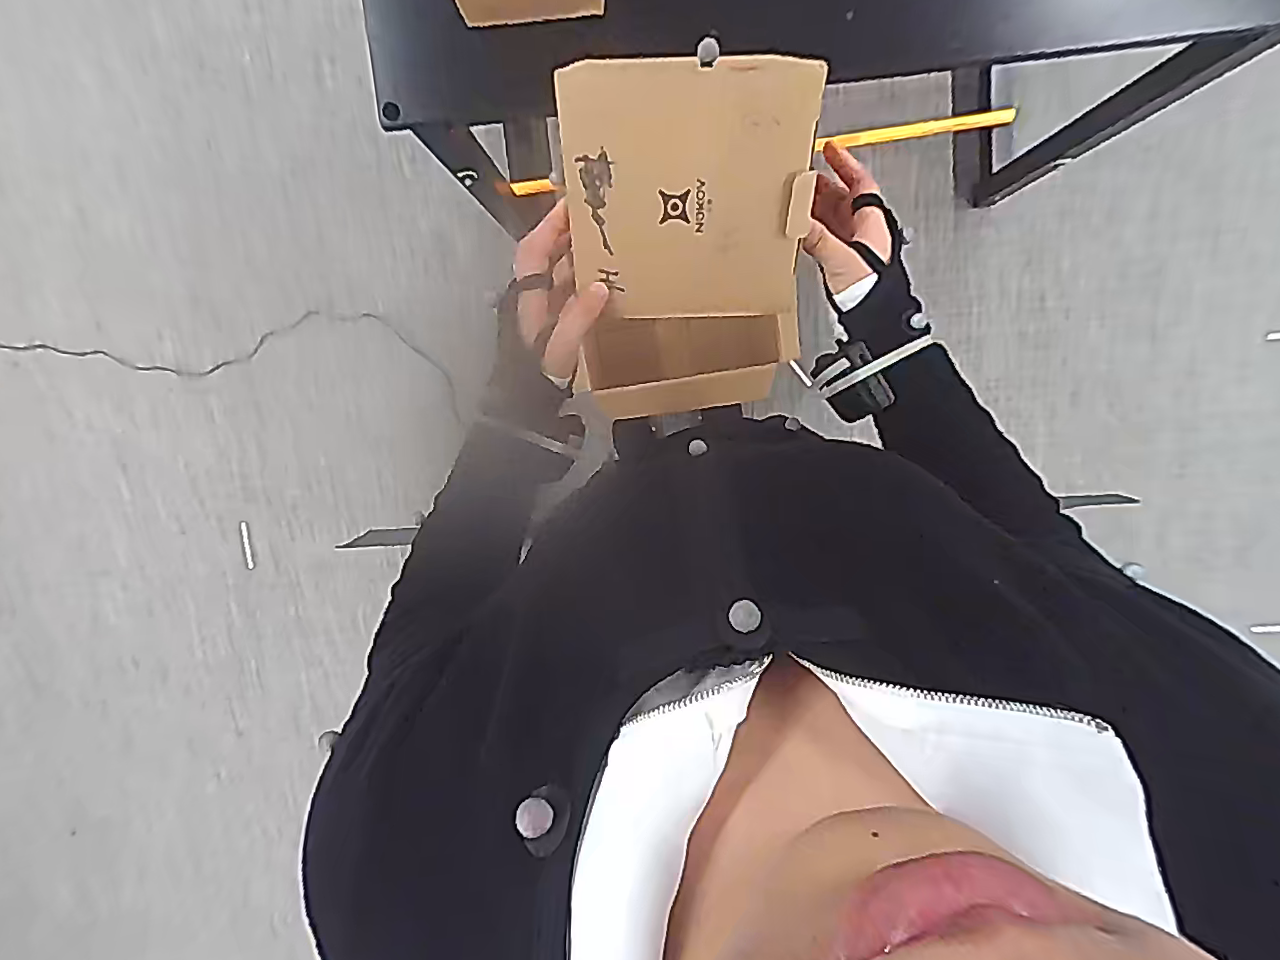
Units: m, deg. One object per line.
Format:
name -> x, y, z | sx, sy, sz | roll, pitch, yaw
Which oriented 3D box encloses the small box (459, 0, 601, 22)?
small box -> -0.135, -0.633, 0.575 | 0.179, 0.176, 0.168 | -4, 100, 1
